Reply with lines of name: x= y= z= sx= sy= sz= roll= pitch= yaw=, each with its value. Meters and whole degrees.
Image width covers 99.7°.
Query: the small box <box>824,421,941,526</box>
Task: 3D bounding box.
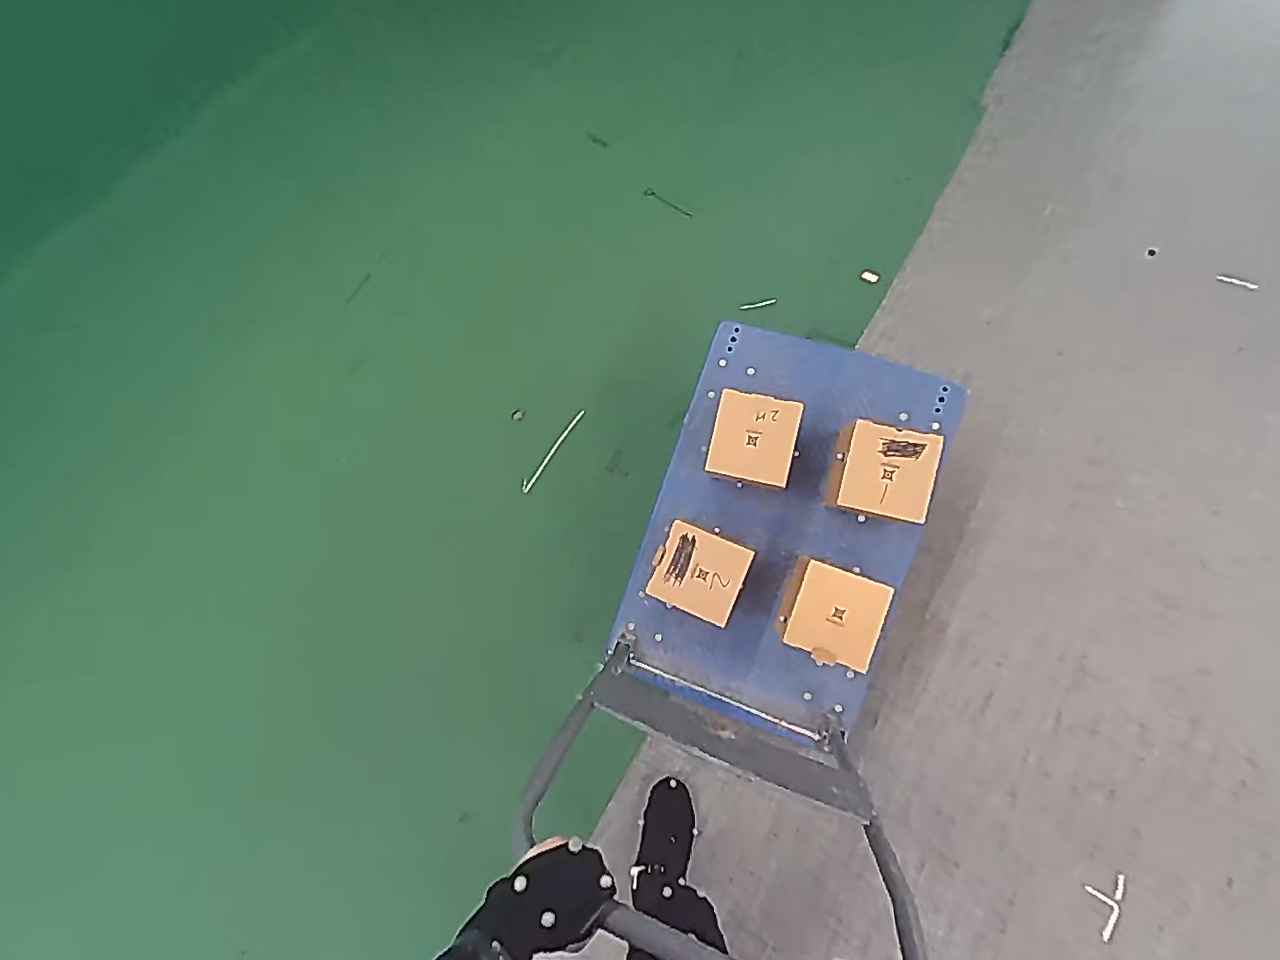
small box: x=0.495 y=-0.009 z=1.129 sx=0.168 sy=0.176 sz=0.179 roll=14 pitch=89 yaw=10

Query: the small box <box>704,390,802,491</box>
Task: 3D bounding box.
small box: x=0.241 y=-0.078 z=1.174 sx=0.168 sy=0.176 sz=0.179 roll=13 pitch=88 yaw=9

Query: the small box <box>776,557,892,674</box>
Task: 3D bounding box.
small box: x=0.392 y=0.269 z=1.126 sx=0.168 sy=0.176 sz=0.179 roll=19 pitch=90 yaw=10
